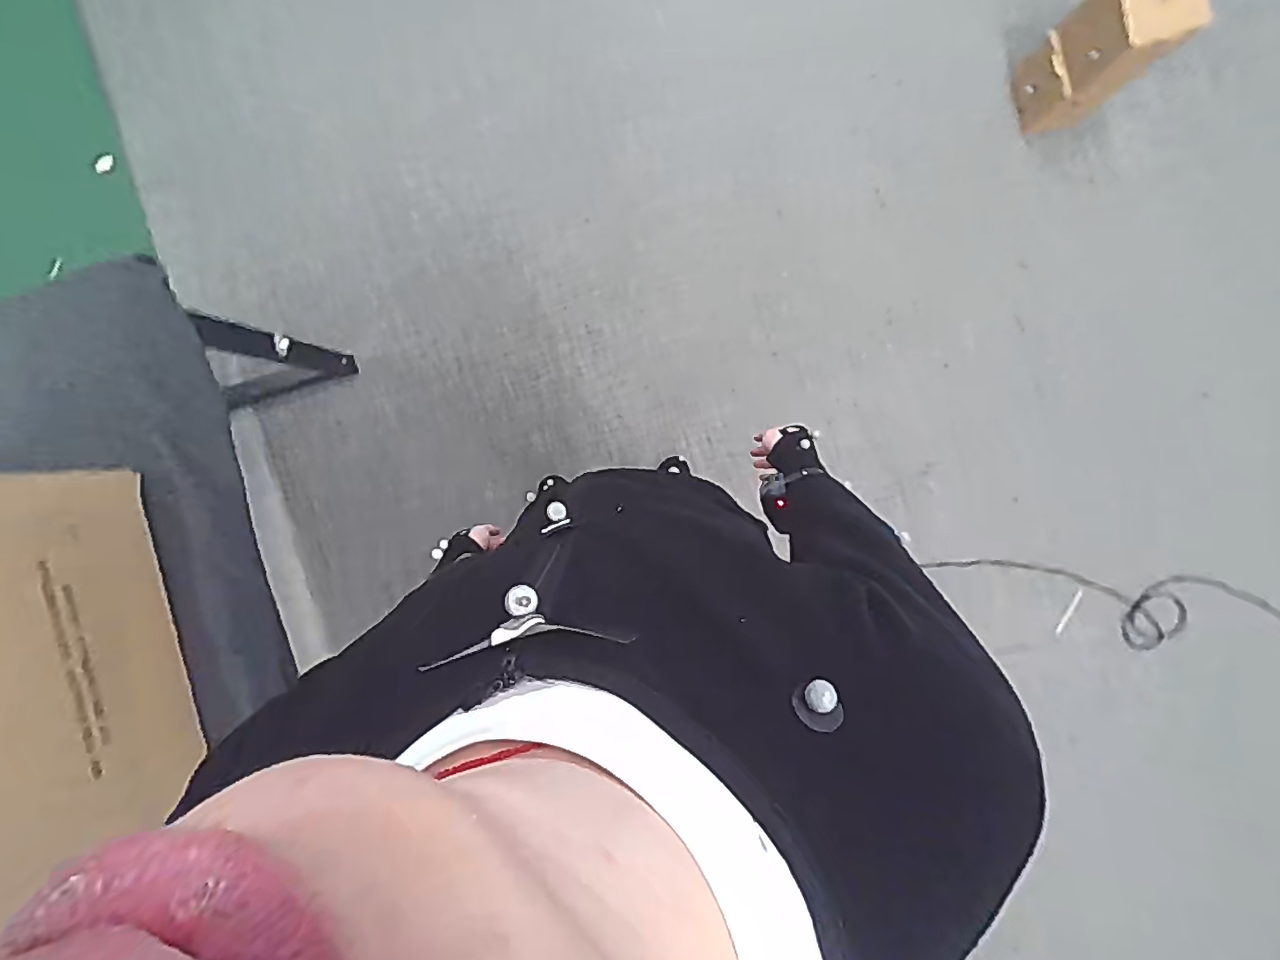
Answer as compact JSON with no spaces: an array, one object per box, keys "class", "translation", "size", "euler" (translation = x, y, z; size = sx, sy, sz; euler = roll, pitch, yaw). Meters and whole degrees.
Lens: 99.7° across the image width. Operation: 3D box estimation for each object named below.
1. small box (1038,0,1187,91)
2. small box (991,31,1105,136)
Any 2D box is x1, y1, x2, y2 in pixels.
[{"class":"small box","translation":[1.045,-1.018,1.211],"size":[0.168,0.176,0.179],"euler":[-17,91,1]},{"class":"small box","translation":[1.044,-1.033,1.392],"size":[0.179,0.176,0.168],"euler":[-18,91,2]}]
